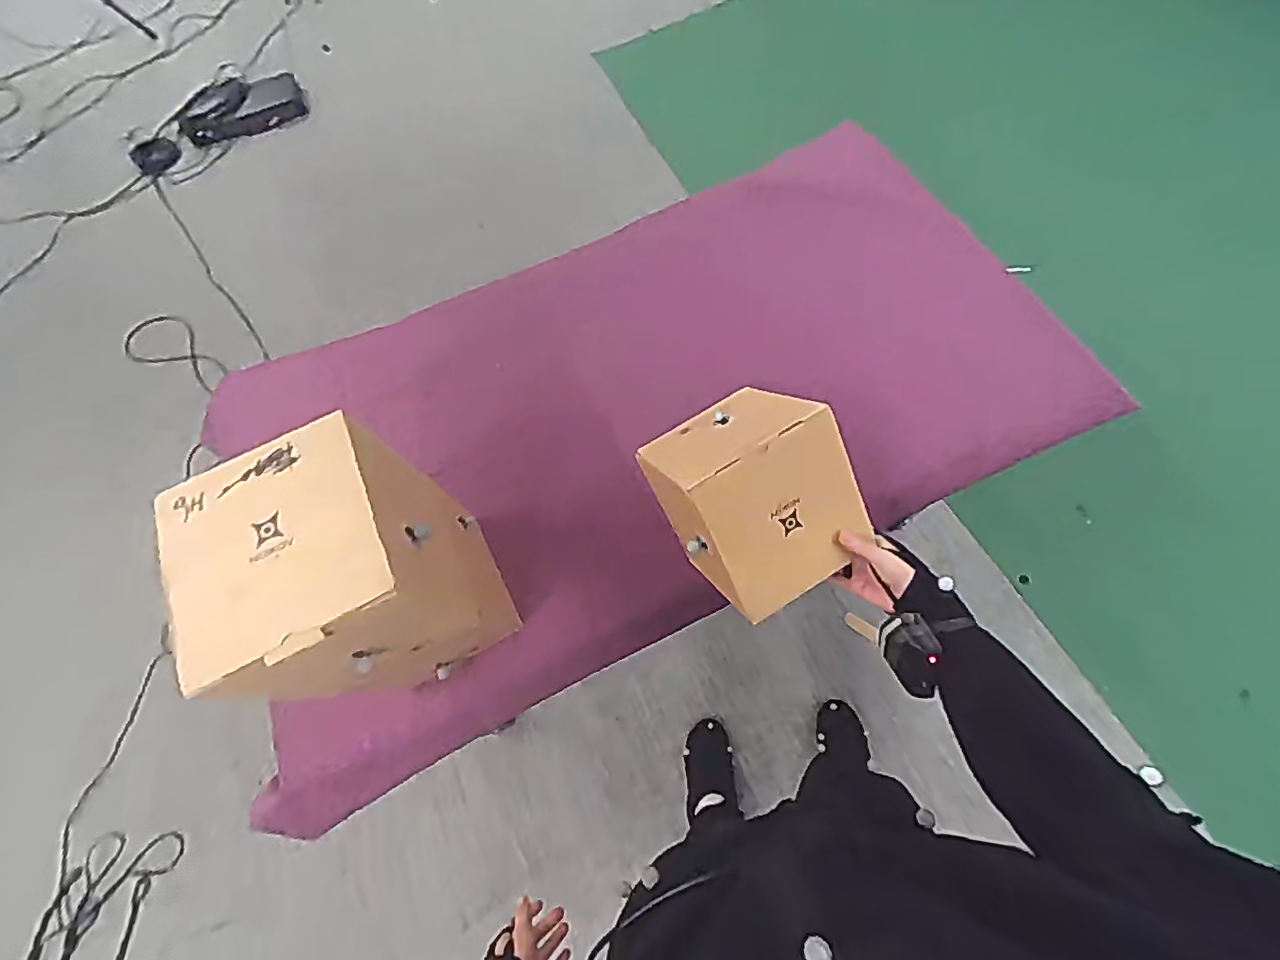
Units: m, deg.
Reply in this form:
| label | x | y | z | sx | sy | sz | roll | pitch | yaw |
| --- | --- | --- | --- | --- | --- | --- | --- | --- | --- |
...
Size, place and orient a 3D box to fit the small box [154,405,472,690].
| label | x | y | z | sx | sy | sz | roll | pitch | yaw |
| --- | --- | --- | --- | --- | --- | --- | --- | --- | --- |
| small box | -0.278 | 0.070 | 0.491 | 0.168 | 0.176 | 0.179 | -26 | 69 | -6 |

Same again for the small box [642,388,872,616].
| label | x | y | z | sx | sy | sz | roll | pitch | yaw |
| --- | --- | --- | --- | --- | --- | --- | --- | --- | --- |
| small box | 0.125 | 0.013 | 0.617 | 0.168 | 0.176 | 0.179 | -30 | 112 | -8 |

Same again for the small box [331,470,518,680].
| label | x | y | z | sx | sy | sz | roll | pitch | yaw |
| --- | --- | --- | --- | --- | --- | --- | --- | --- | --- |
| small box | -0.269 | 0.122 | 0.646 | 0.168 | 0.176 | 0.179 | -28 | 69 | -6 |
